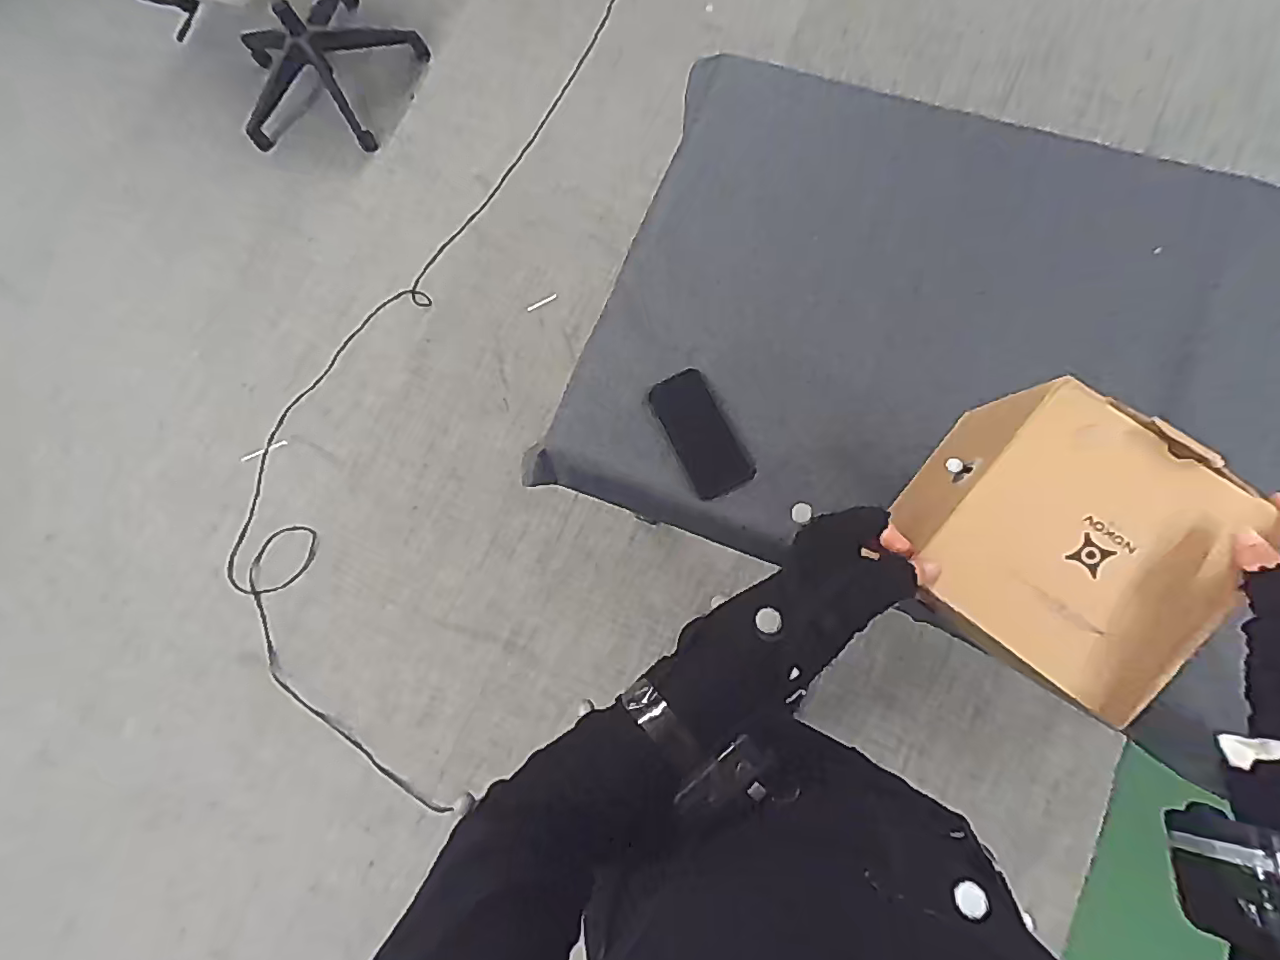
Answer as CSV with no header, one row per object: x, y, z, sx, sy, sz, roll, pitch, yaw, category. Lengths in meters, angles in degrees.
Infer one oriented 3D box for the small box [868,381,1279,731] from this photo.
0.314,0.051,0.437,0.168,0.176,0.179,38,95,10,small box
